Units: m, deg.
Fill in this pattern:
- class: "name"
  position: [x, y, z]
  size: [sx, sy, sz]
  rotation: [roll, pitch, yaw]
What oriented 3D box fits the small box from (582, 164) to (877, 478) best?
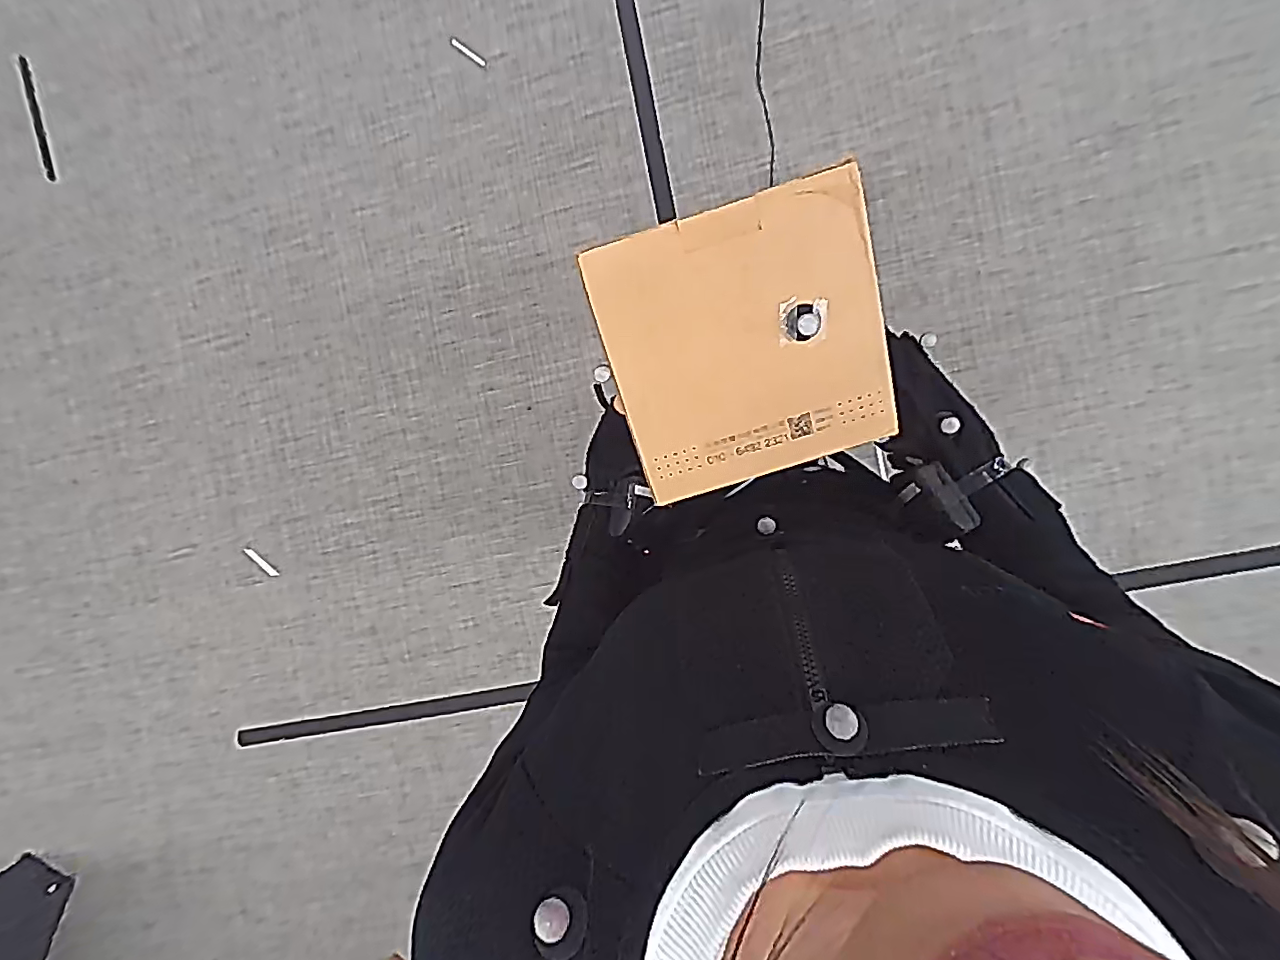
- class: "small box"
  position: [0.065, -0.114, 0.422]
  size: [0.168, 0.179, 0.176]
  rotation: [-16, 110, 5]
